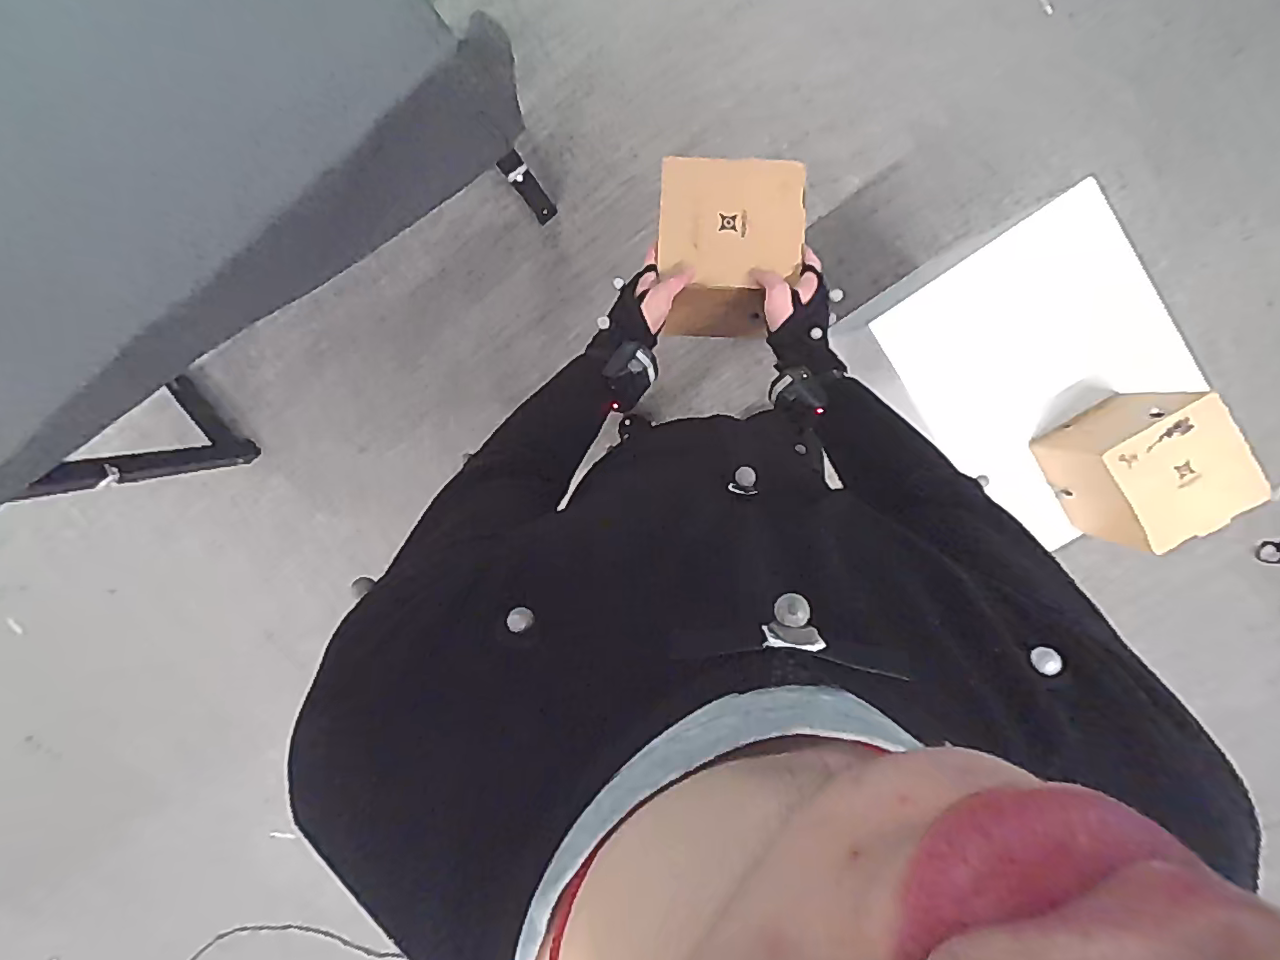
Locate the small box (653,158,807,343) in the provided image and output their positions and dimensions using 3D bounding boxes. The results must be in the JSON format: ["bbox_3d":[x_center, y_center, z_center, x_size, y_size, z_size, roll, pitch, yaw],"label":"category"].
[{"bbox_3d":[0.107,-0.288,0.708,0.179,0.176,0.168,0,83,1],"label":"small box"}]

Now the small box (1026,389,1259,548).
[{"bbox_3d":[0.758,-0.027,0.836,0.168,0.176,0.179,-34,97,5],"label":"small box"}]
